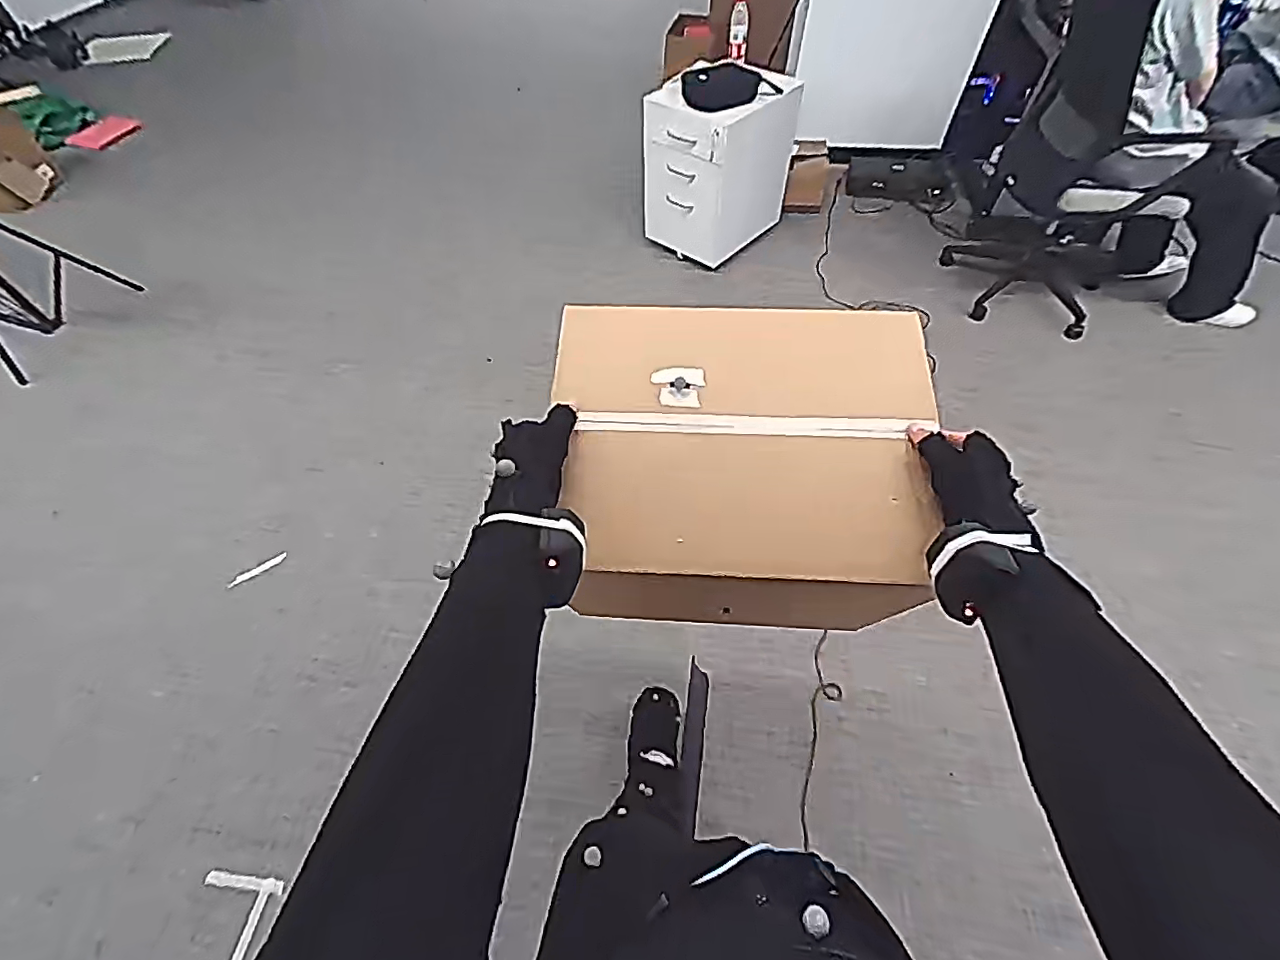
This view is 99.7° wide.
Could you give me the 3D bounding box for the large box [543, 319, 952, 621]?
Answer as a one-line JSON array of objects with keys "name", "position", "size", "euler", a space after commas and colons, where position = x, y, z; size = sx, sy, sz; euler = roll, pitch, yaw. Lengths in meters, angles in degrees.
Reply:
[{"name": "large box", "position": [0.116, 0.008, 0.719], "size": [0.408, 0.320, 0.320], "euler": [2, 67, 4]}]
